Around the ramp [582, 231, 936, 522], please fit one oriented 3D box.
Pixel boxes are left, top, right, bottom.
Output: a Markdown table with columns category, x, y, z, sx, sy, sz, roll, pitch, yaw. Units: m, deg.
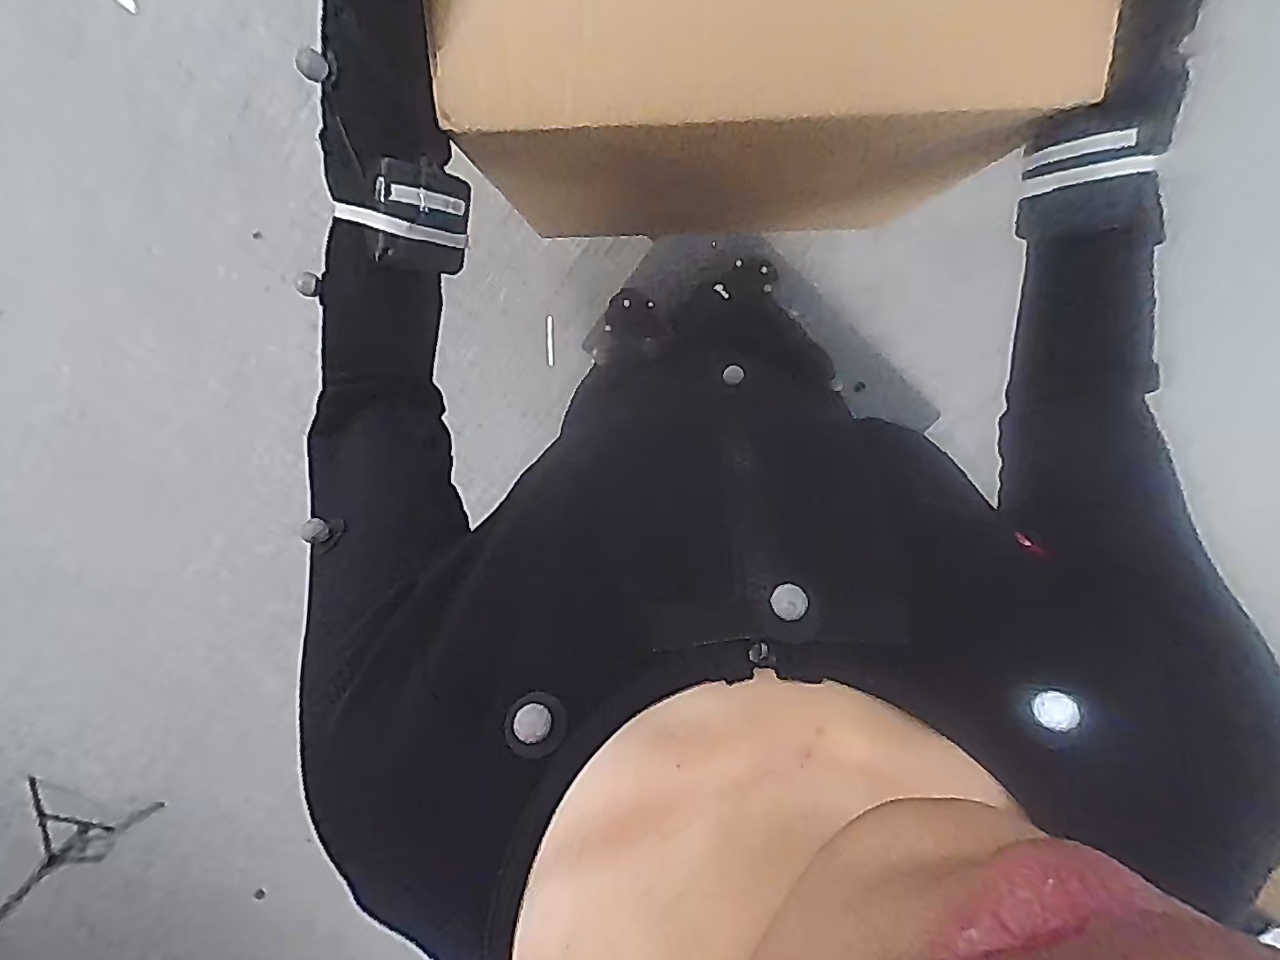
| category | x | y | z | sx | sy | sz | roll | pitch | yaw |
| --- | --- | --- | --- | --- | --- | --- | --- | --- | --- |
| ramp | 0.377 | -0.283 | 1.522 | 0.991 | 0.206 | 0.509 | 34 | 107 | -13 |

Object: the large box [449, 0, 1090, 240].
| category | x | y | z | sx | sy | sz | roll | pitch | yaw |
| --- | --- | --- | --- | --- | --- | --- | --- | --- | --- |
| large box | 0.075 | -0.410 | 0.463 | 0.408 | 0.320 | 0.320 | -1 | 102 | 1 |
